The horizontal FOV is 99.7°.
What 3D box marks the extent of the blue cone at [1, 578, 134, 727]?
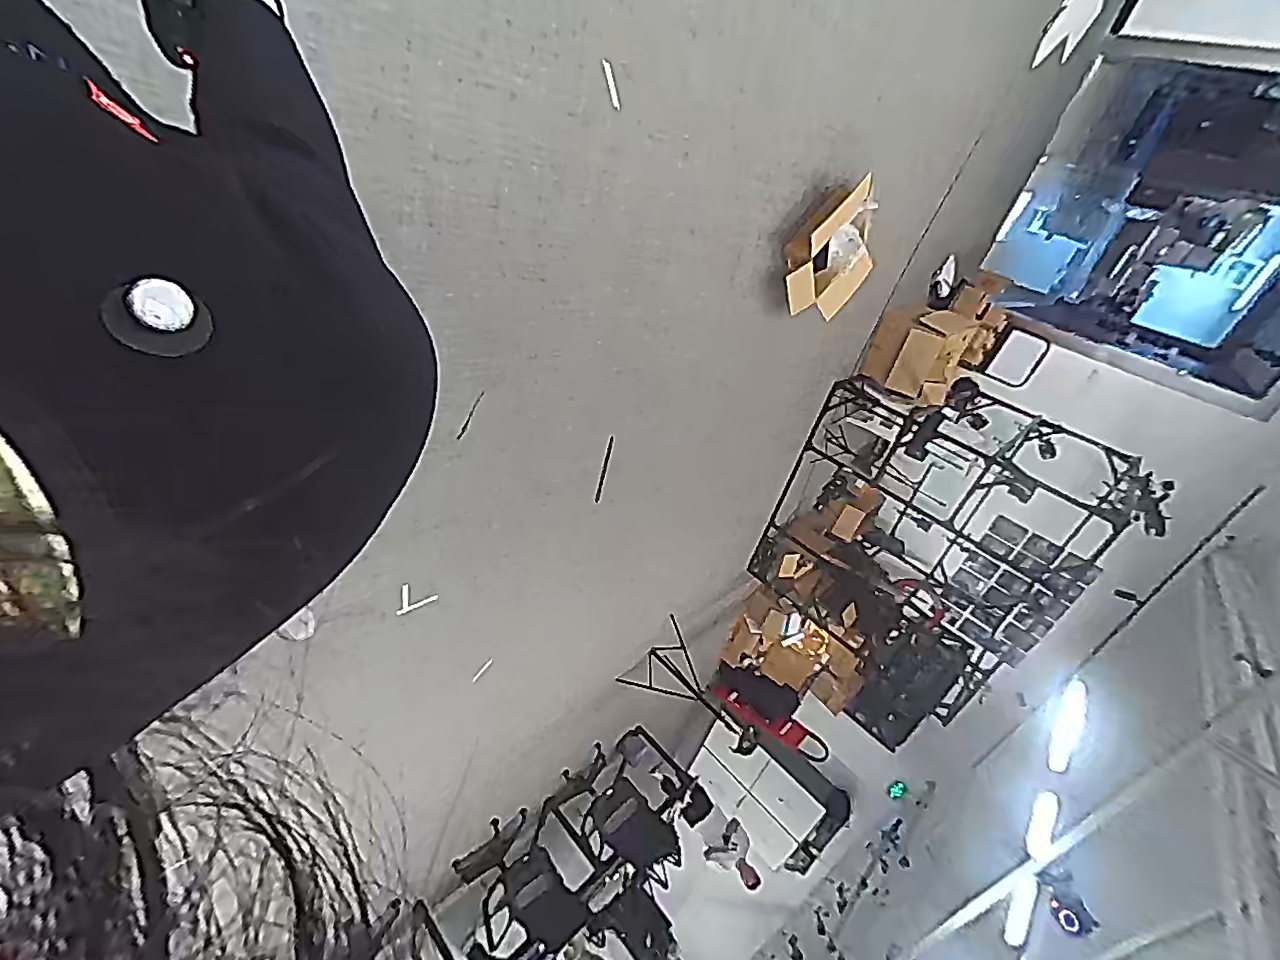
[{"bbox_3d":[-1.240,0.401,1.209,0.193,0.380,0.192,-54,151,1],"label":"blue cone"}]
